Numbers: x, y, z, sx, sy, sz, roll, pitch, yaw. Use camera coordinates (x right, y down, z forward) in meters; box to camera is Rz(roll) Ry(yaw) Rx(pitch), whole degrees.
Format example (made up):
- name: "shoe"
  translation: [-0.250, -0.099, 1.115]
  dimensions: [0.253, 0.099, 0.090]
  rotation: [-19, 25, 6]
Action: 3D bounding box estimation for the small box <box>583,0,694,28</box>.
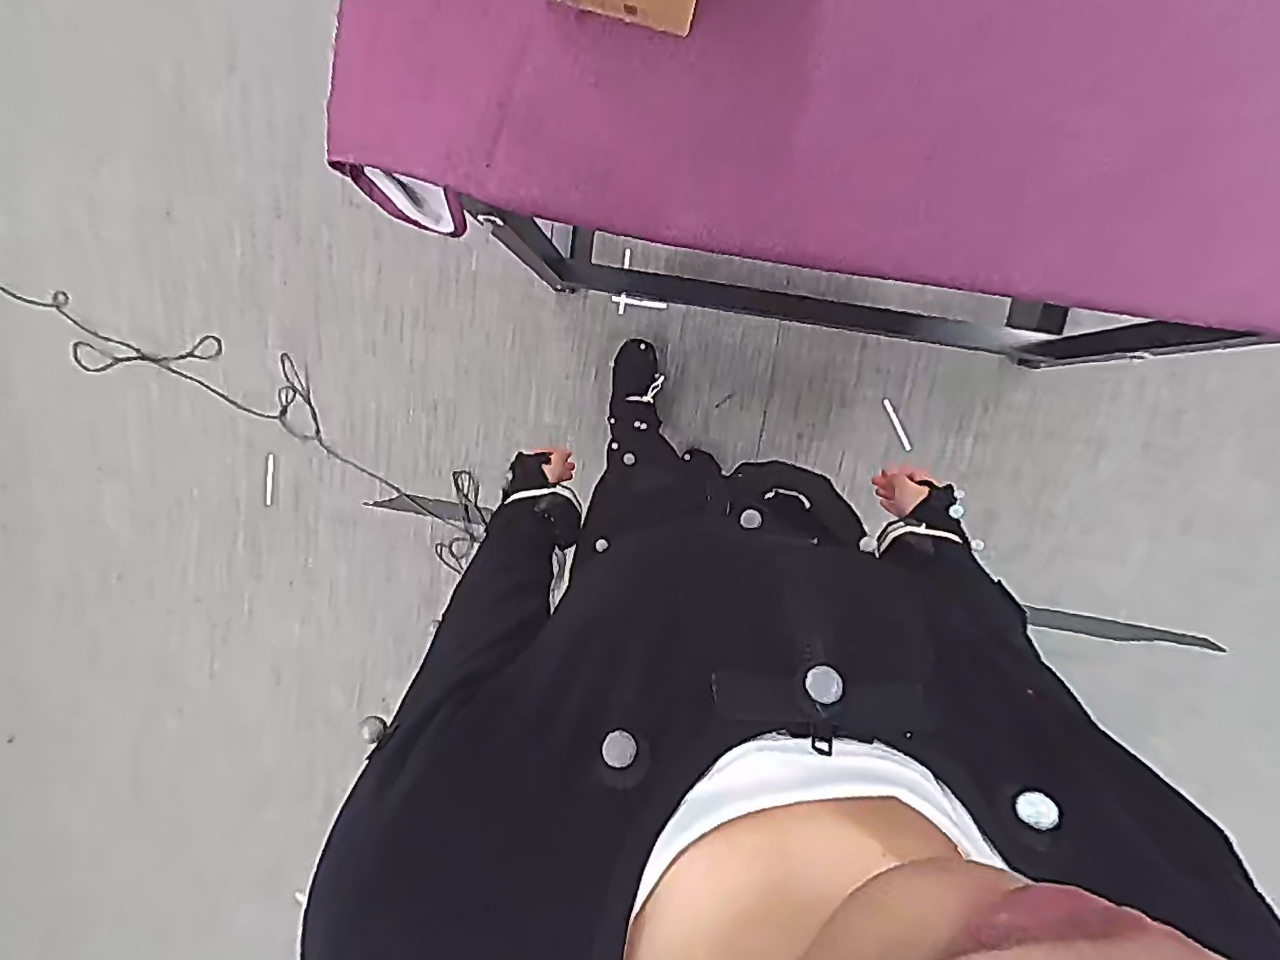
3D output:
- name: "small box"
  translation: [-0.011, -0.563, 0.484]
  dimensions: [0.168, 0.176, 0.179]
  rotation: [15, 99, 1]
